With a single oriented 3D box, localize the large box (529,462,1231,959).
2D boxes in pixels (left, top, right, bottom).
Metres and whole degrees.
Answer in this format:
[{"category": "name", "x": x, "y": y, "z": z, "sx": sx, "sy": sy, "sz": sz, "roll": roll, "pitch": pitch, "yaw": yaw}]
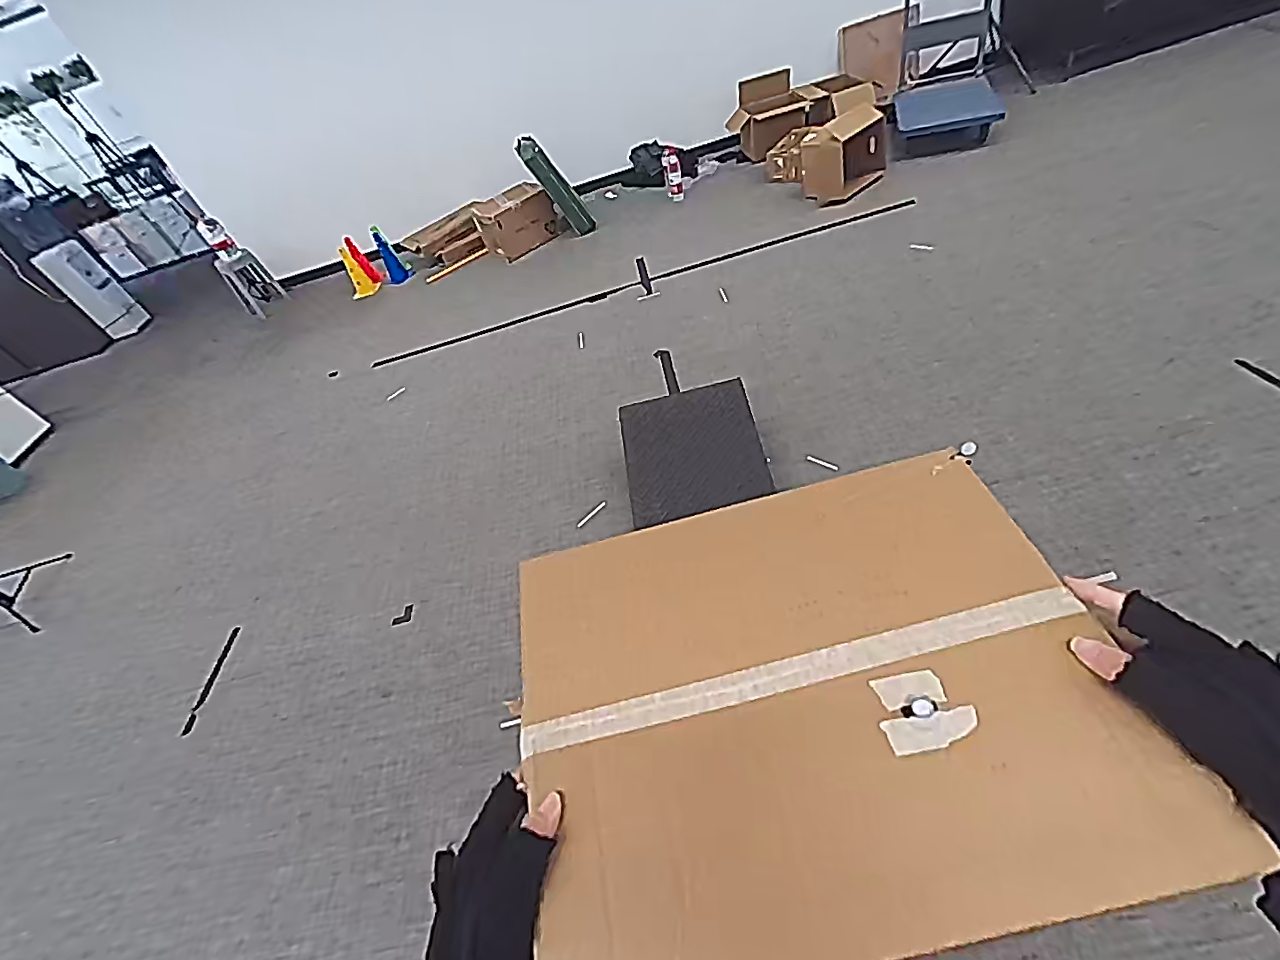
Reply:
[{"category": "large box", "x": 0.142, "y": 0.241, "z": 0.513, "sx": 0.408, "sy": 0.320, "sz": 0.320, "roll": -15, "pitch": 49, "yaw": 2}]
